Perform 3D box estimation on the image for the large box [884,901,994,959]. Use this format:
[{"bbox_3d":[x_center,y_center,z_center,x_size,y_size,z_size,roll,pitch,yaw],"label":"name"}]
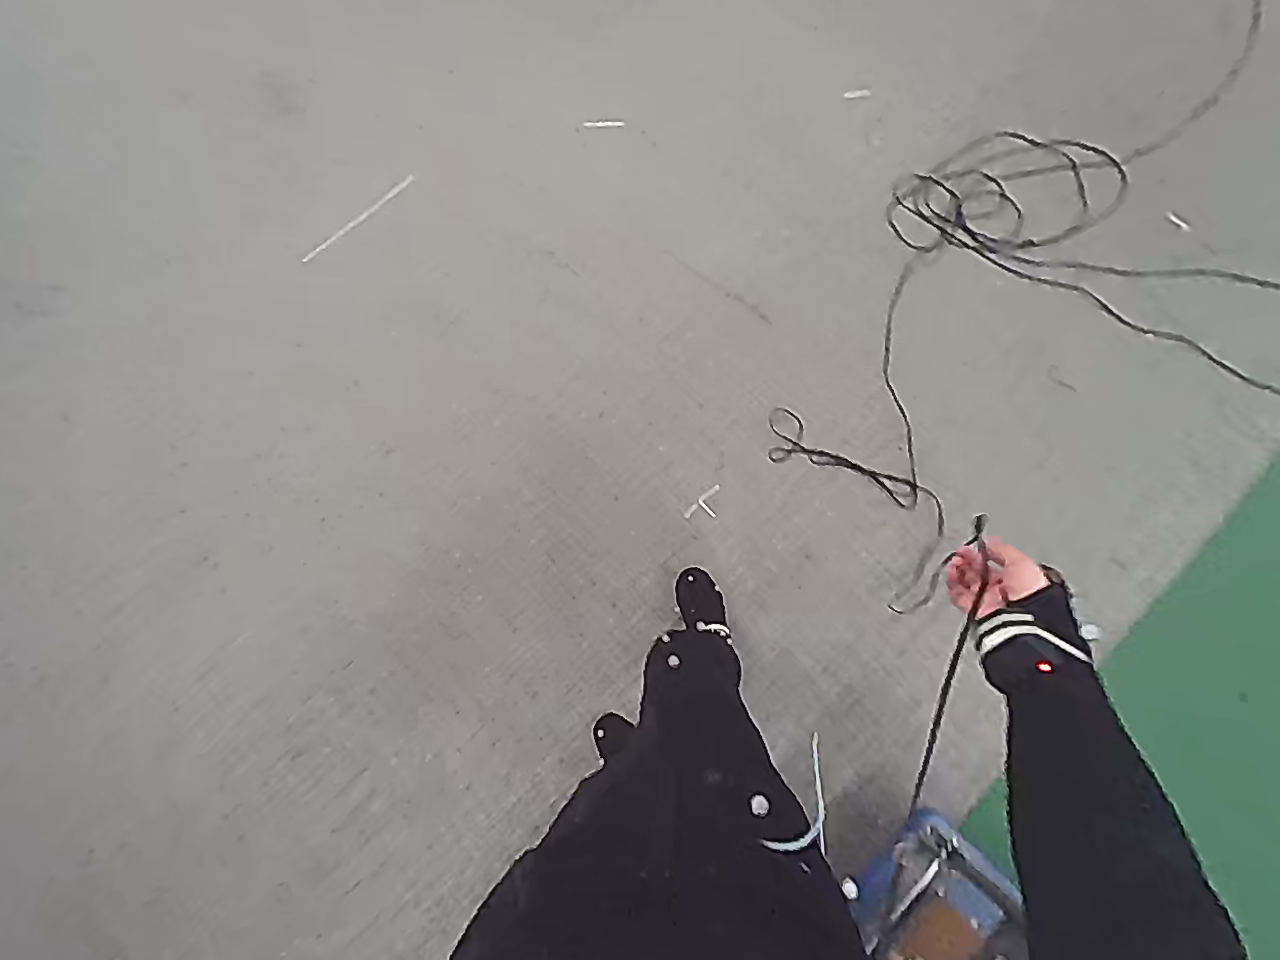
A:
[{"bbox_3d":[0.620,1.058,0.908,0.320,0.320,0.408,-43,77,-8],"label":"large box"}]
